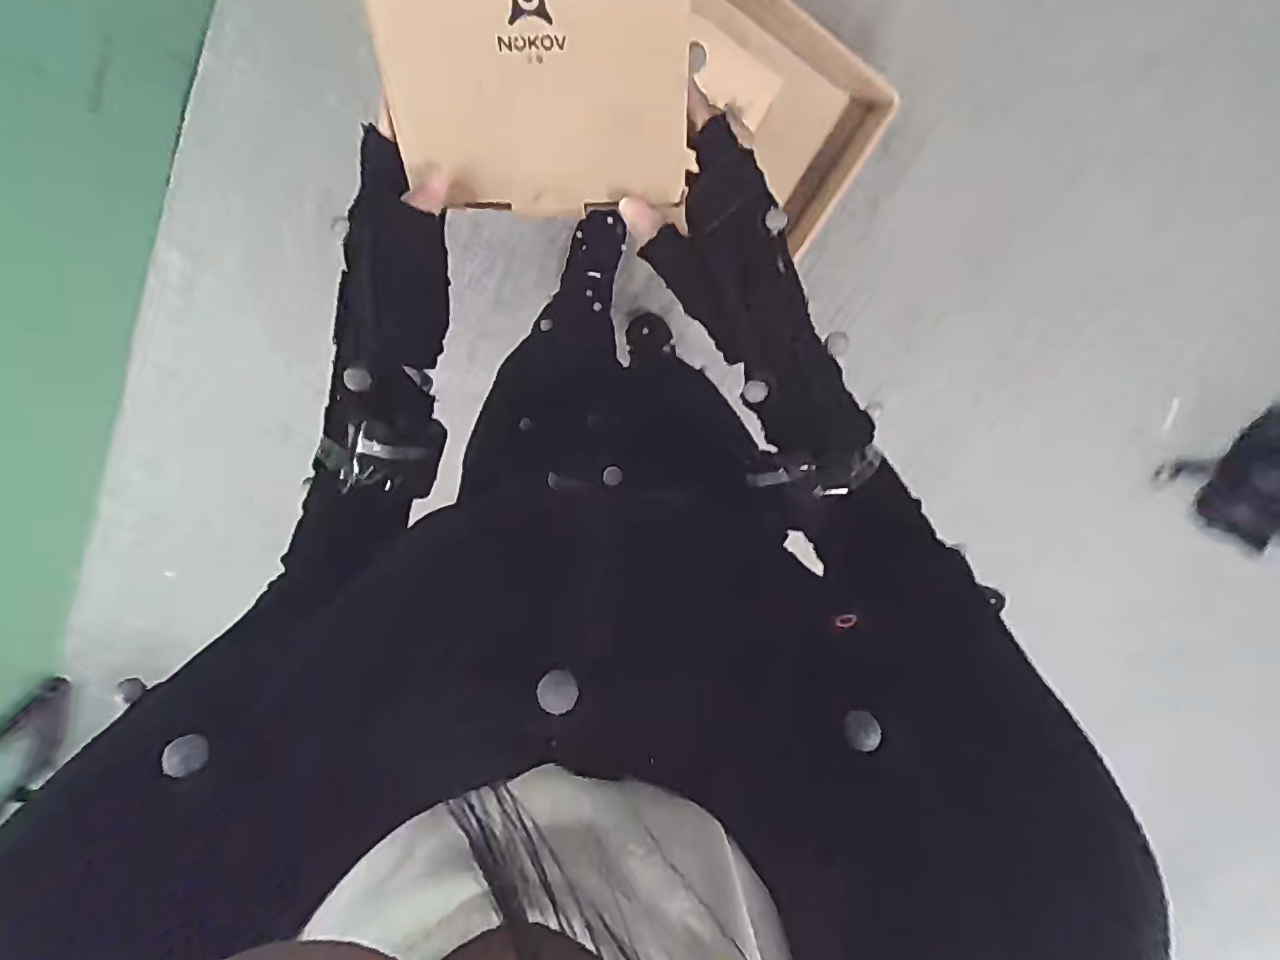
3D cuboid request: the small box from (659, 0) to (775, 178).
[{"bbox_3d":[0.084,-0.619,0.871,0.179,0.176,0.168,28,114,-16],"label":"small box"}]
